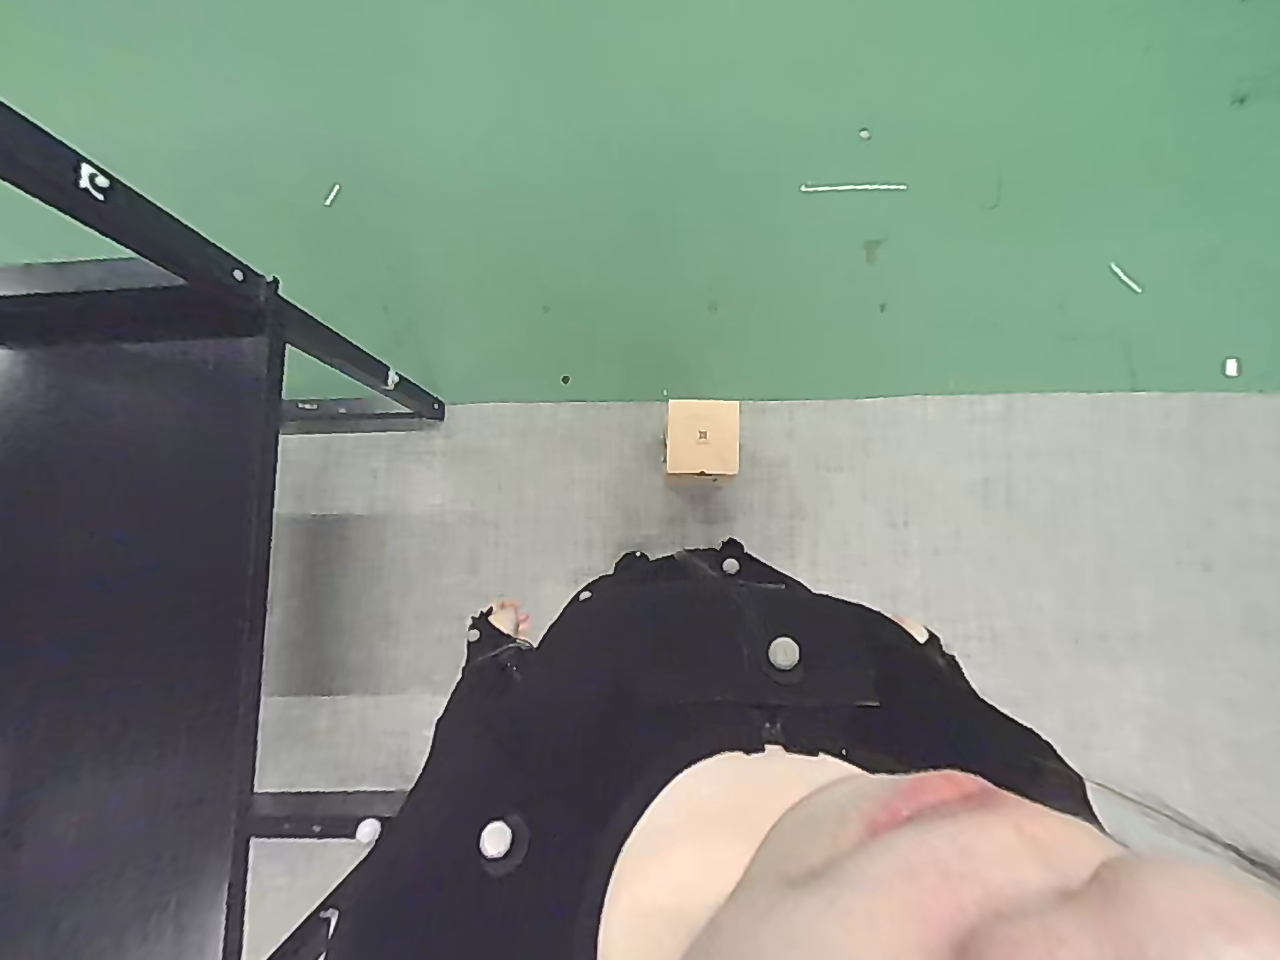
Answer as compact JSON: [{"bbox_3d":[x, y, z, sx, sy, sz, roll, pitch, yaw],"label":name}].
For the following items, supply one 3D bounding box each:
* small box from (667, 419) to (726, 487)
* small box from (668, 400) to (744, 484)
[{"bbox_3d":[0.162,-0.072,1.453,0.179,0.176,0.168,3,84,2],"label":"small box"},{"bbox_3d":[0.153,-0.084,1.292,0.168,0.176,0.179,1,83,2],"label":"small box"}]
